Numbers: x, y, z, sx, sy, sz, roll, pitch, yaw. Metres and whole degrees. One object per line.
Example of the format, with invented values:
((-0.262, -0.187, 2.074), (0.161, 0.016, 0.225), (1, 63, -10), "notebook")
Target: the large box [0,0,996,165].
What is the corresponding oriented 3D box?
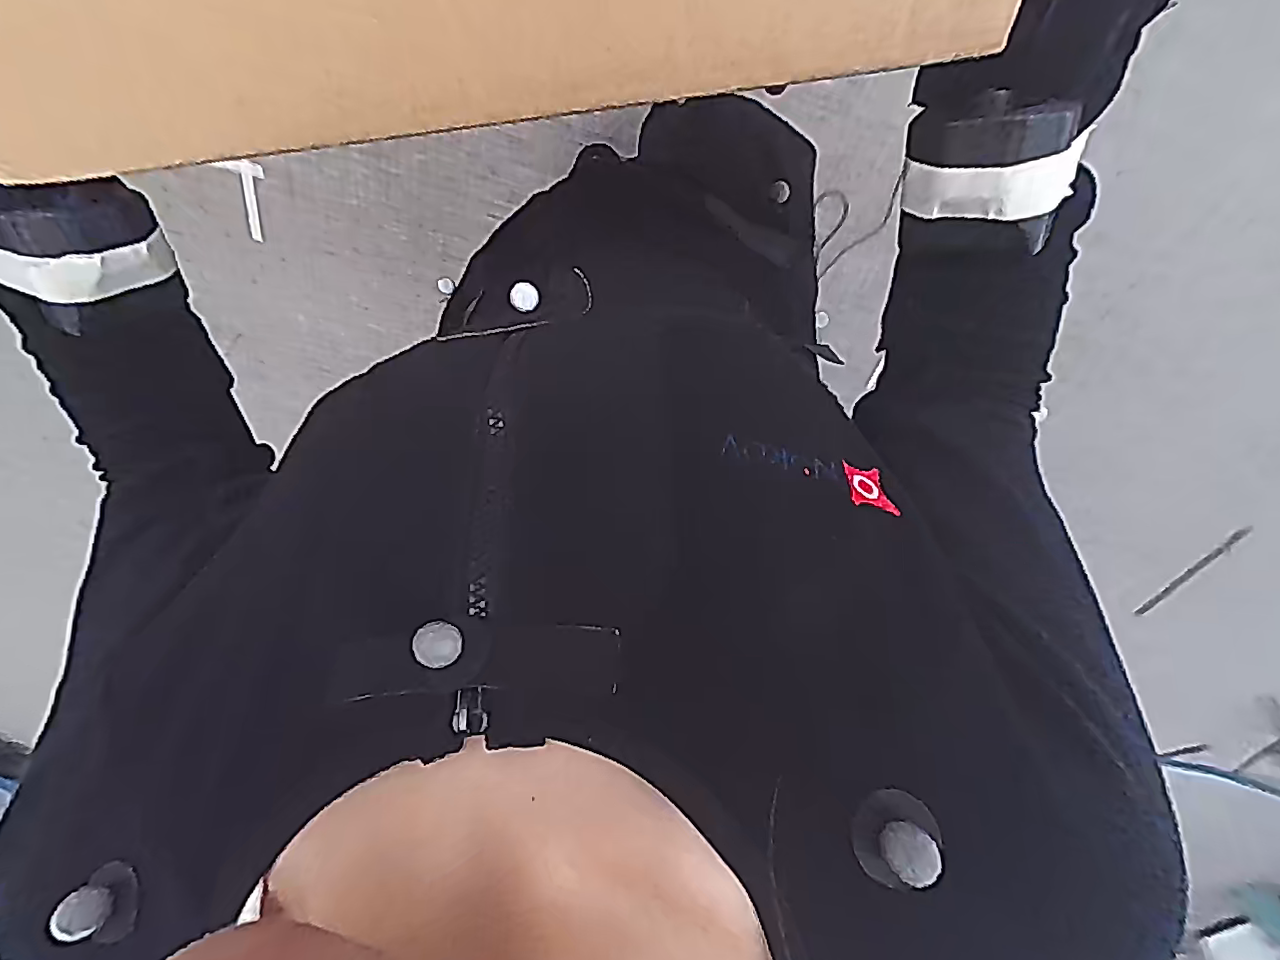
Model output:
((-0.080, -0.364, 0.203), (0.408, 0.320, 0.320), (-4, 138, 4), "large box")
